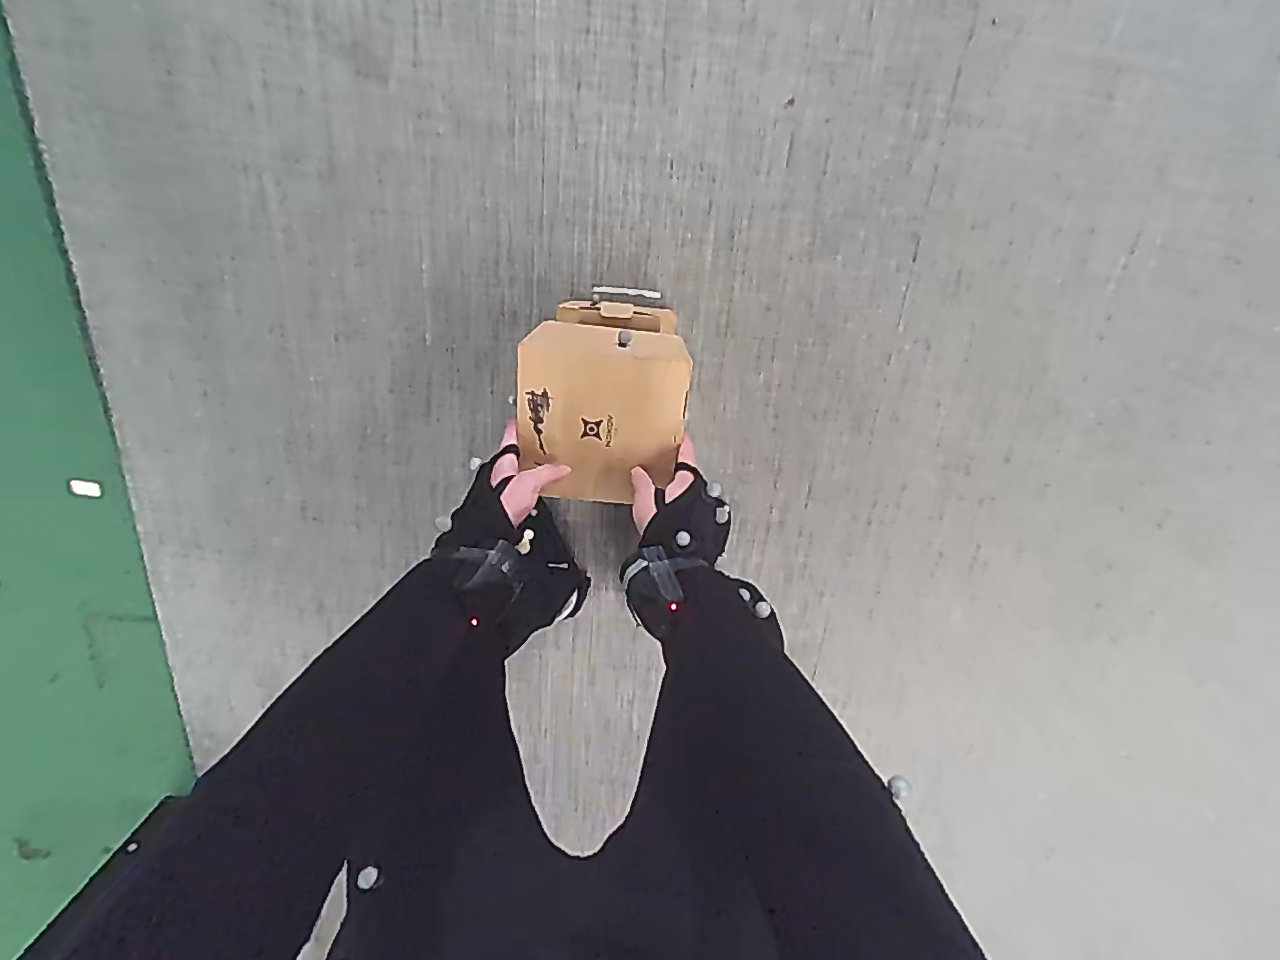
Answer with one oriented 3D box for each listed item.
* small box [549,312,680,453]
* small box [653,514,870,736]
[{"bbox_3d":[-0.036,-0.155,0.819,0.168,0.176,0.179,7,110,-1],"label":"small box"},{"bbox_3d":[0.106,0.134,0.536,0.176,0.179,0.168,10,78,4],"label":"small box"}]
